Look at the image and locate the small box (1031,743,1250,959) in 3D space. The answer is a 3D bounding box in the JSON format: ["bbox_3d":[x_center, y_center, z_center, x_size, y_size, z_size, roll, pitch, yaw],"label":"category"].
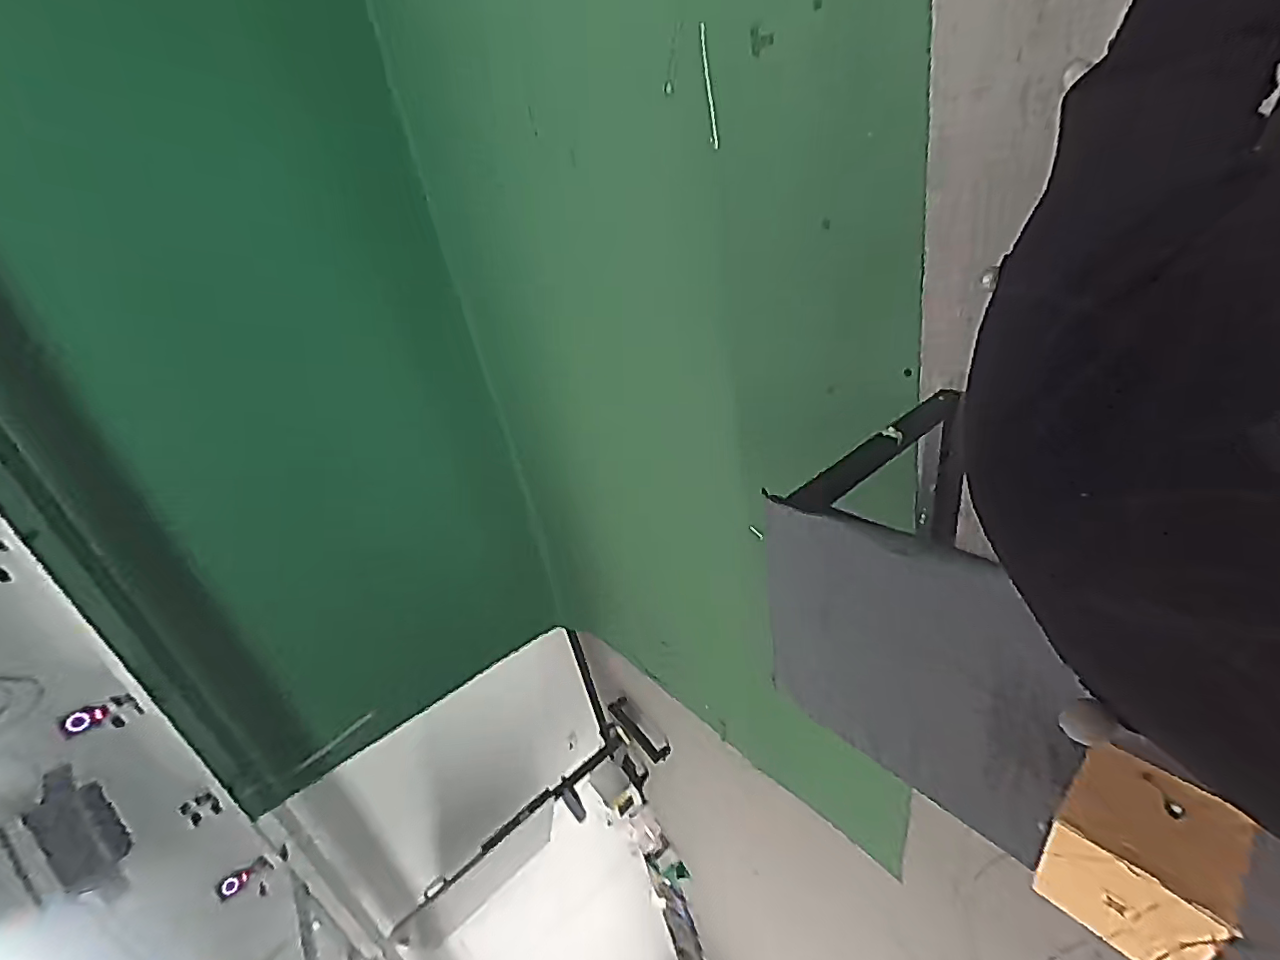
[{"bbox_3d":[0.667,0.506,0.729,0.168,0.176,0.179,23,132,47],"label":"small box"}]
